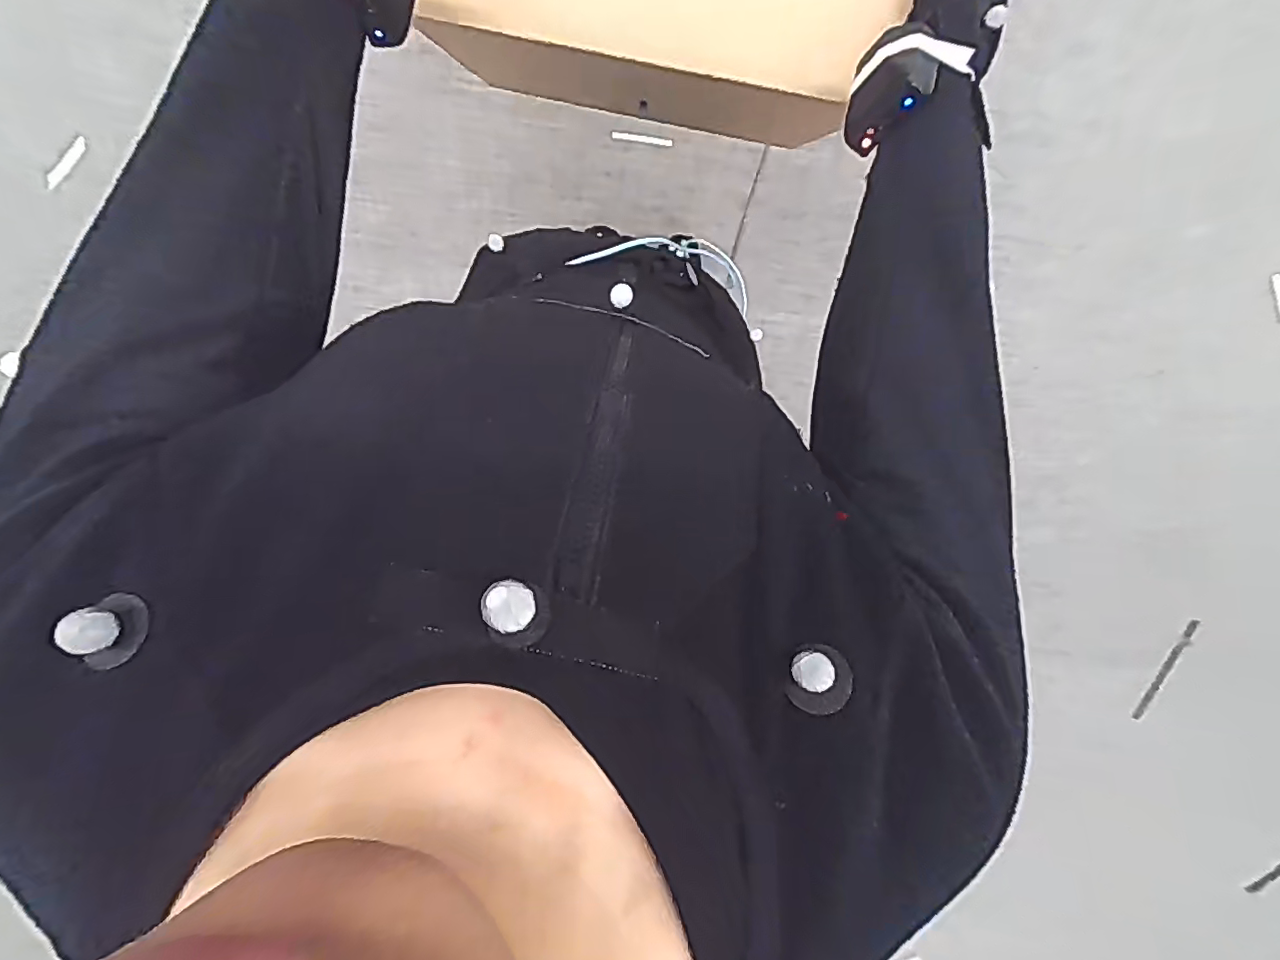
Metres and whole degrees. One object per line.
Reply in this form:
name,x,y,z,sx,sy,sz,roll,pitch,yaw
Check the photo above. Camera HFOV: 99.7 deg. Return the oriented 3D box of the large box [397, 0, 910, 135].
large box,0.033,-0.544,0.499,0.408,0.320,0.320,10,115,-3
